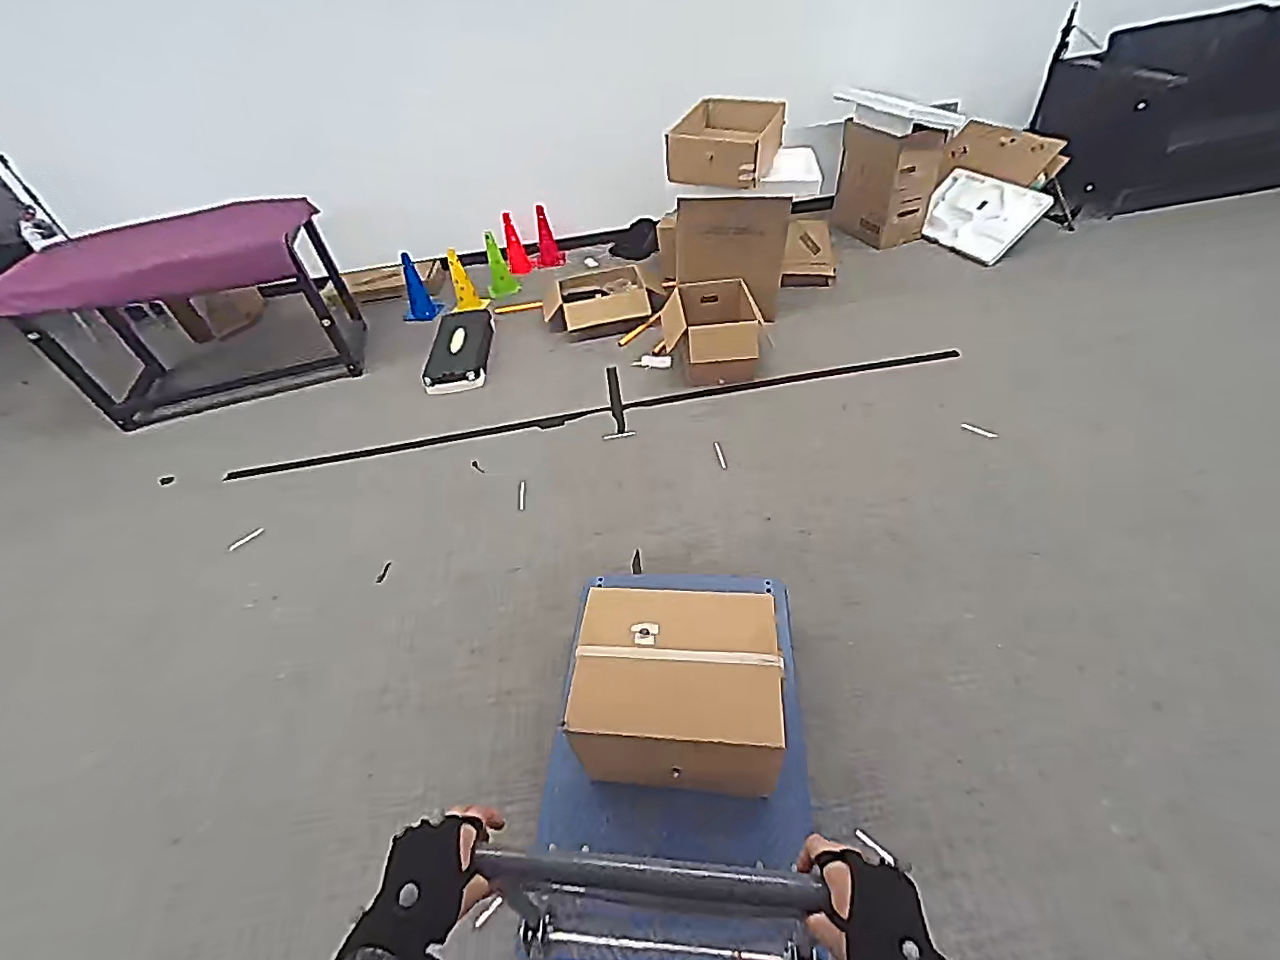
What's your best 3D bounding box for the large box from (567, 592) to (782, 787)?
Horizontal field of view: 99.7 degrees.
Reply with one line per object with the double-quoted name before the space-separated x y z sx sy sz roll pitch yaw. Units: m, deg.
"large box" 0.088 0.463 1.198 0.408 0.320 0.320 -1 45 9
